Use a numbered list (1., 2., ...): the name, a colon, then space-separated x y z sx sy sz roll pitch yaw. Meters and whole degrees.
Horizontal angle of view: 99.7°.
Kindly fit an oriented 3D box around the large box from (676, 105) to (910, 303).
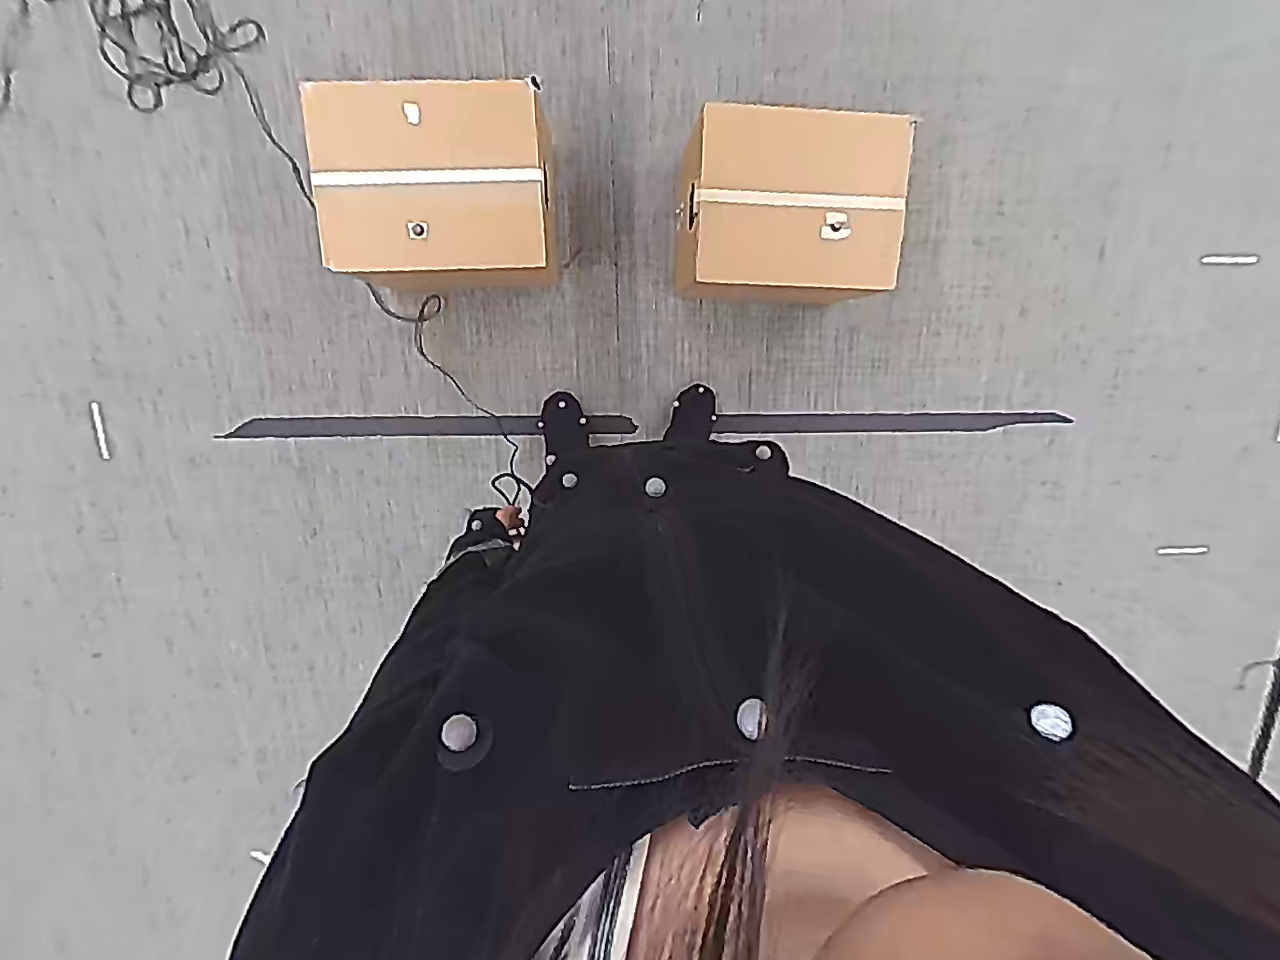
1. large box: 0.299 -0.569 1.184 0.408 0.320 0.320 1 103 -5
